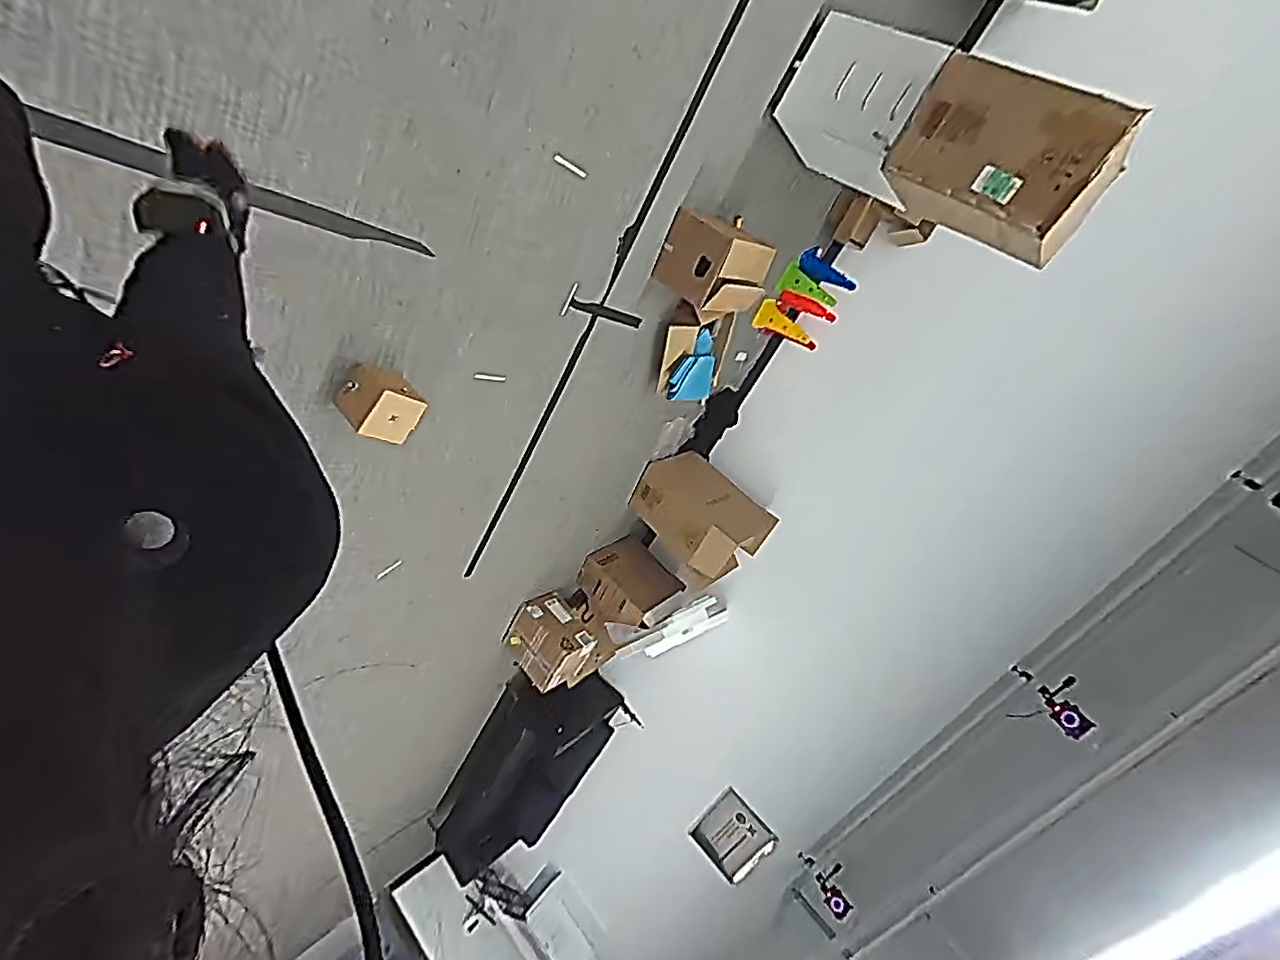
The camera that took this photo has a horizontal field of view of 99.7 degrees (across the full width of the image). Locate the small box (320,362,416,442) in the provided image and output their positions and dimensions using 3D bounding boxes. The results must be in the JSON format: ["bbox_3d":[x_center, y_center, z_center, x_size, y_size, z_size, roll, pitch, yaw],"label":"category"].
[{"bbox_3d":[-0.859,-0.246,1.710,0.168,0.176,0.179,-53,156,7],"label":"small box"}]
